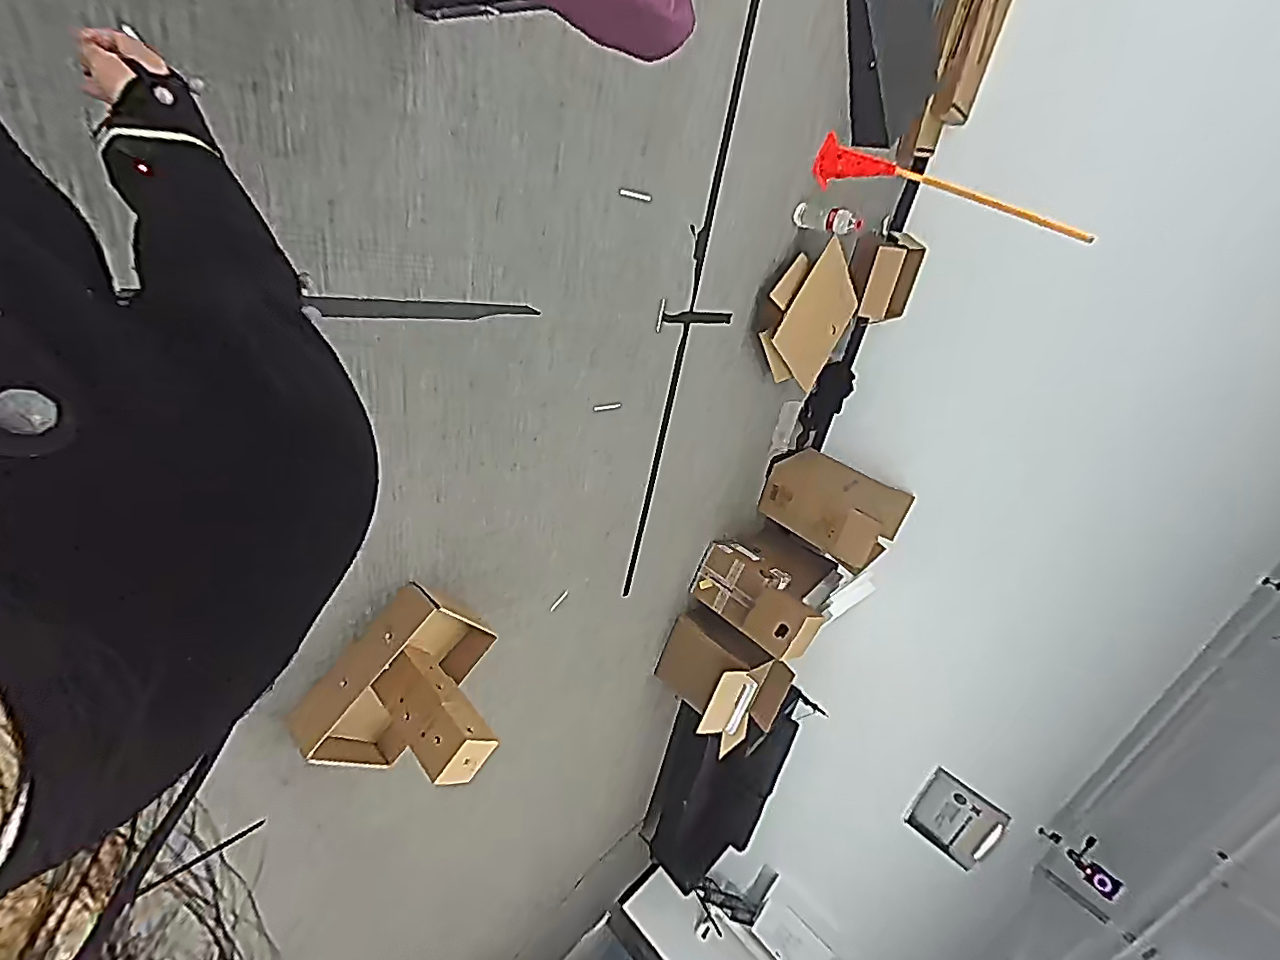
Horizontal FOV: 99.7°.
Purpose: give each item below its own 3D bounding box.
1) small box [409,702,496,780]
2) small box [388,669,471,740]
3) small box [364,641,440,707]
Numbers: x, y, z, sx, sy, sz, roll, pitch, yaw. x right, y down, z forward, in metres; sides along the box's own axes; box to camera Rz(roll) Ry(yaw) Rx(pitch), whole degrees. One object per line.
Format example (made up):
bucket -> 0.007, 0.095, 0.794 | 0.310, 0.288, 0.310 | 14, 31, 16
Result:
small box -> -0.622, 0.859, 1.787 | 0.168, 0.176, 0.179 | -52, 146, -7
small box -> -0.735, 0.781, 1.879 | 0.168, 0.176, 0.179 | -52, 147, -7
small box -> -0.854, 0.713, 1.965 | 0.168, 0.176, 0.179 | -51, 146, -11
